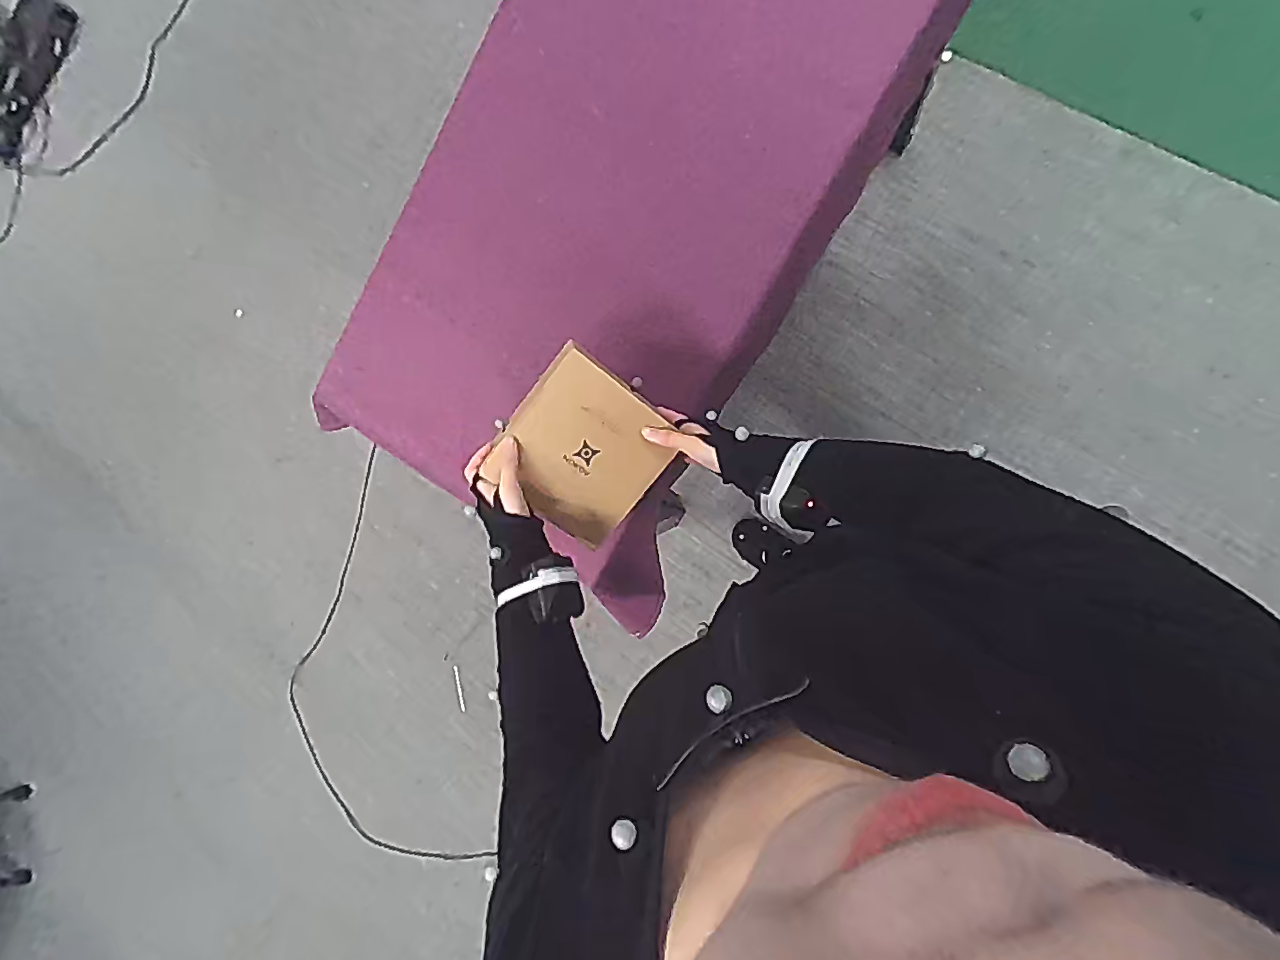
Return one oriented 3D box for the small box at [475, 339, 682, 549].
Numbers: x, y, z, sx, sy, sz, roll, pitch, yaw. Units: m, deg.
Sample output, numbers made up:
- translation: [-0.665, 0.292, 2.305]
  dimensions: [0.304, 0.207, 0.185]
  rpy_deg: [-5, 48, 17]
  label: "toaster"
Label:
- translation: [-0.075, -0.053, 0.671]
  dimensions: [0.168, 0.176, 0.179]
  rpy_deg: [36, 100, -18]
  label: "small box"
